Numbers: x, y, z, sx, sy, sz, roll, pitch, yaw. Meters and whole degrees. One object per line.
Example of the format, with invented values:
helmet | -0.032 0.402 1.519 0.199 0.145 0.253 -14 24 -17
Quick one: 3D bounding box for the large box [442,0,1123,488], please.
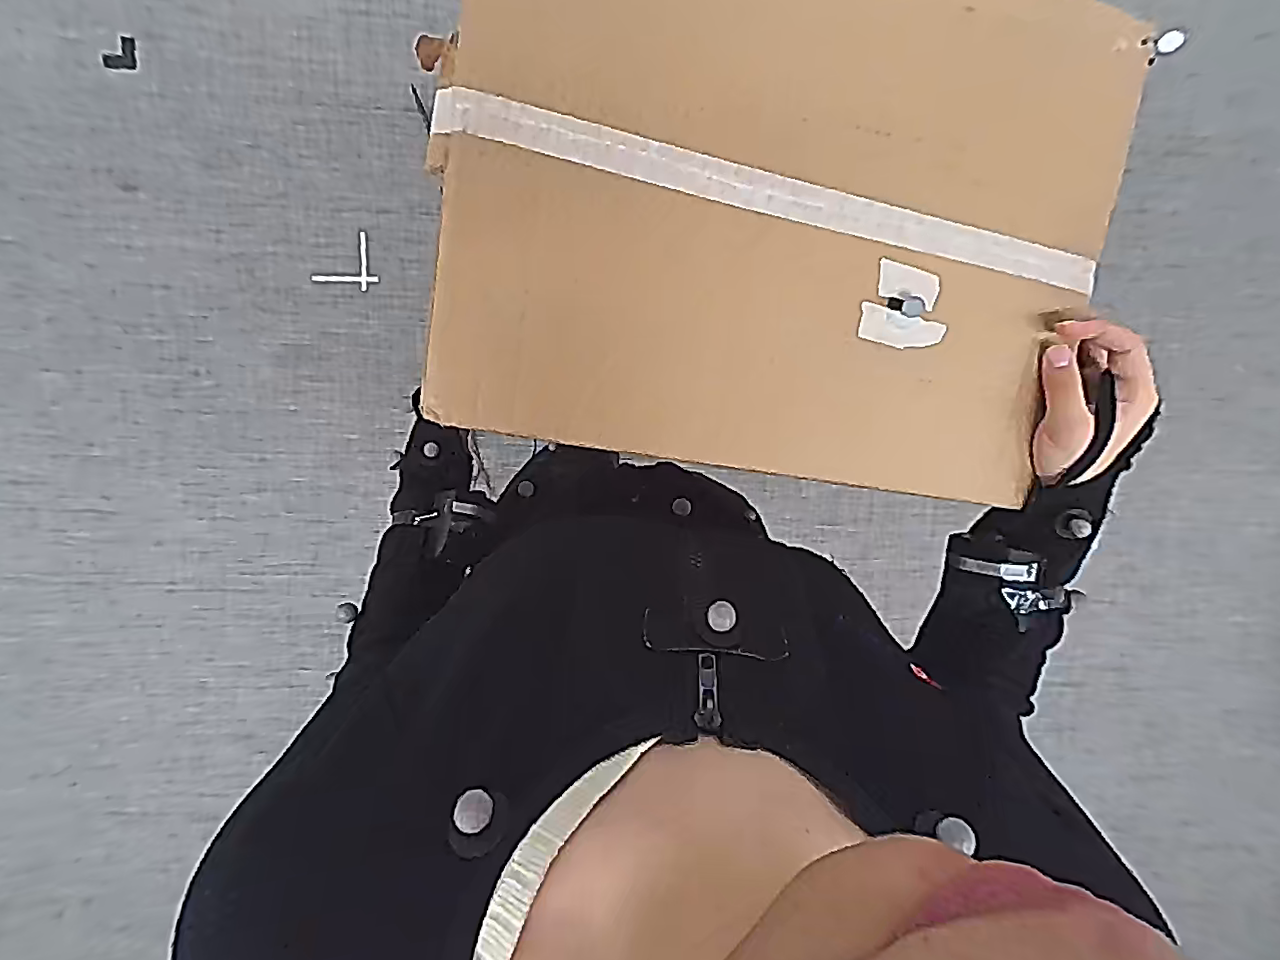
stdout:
large box | 0.069 -0.188 0.466 0.408 0.320 0.320 8 98 -14
